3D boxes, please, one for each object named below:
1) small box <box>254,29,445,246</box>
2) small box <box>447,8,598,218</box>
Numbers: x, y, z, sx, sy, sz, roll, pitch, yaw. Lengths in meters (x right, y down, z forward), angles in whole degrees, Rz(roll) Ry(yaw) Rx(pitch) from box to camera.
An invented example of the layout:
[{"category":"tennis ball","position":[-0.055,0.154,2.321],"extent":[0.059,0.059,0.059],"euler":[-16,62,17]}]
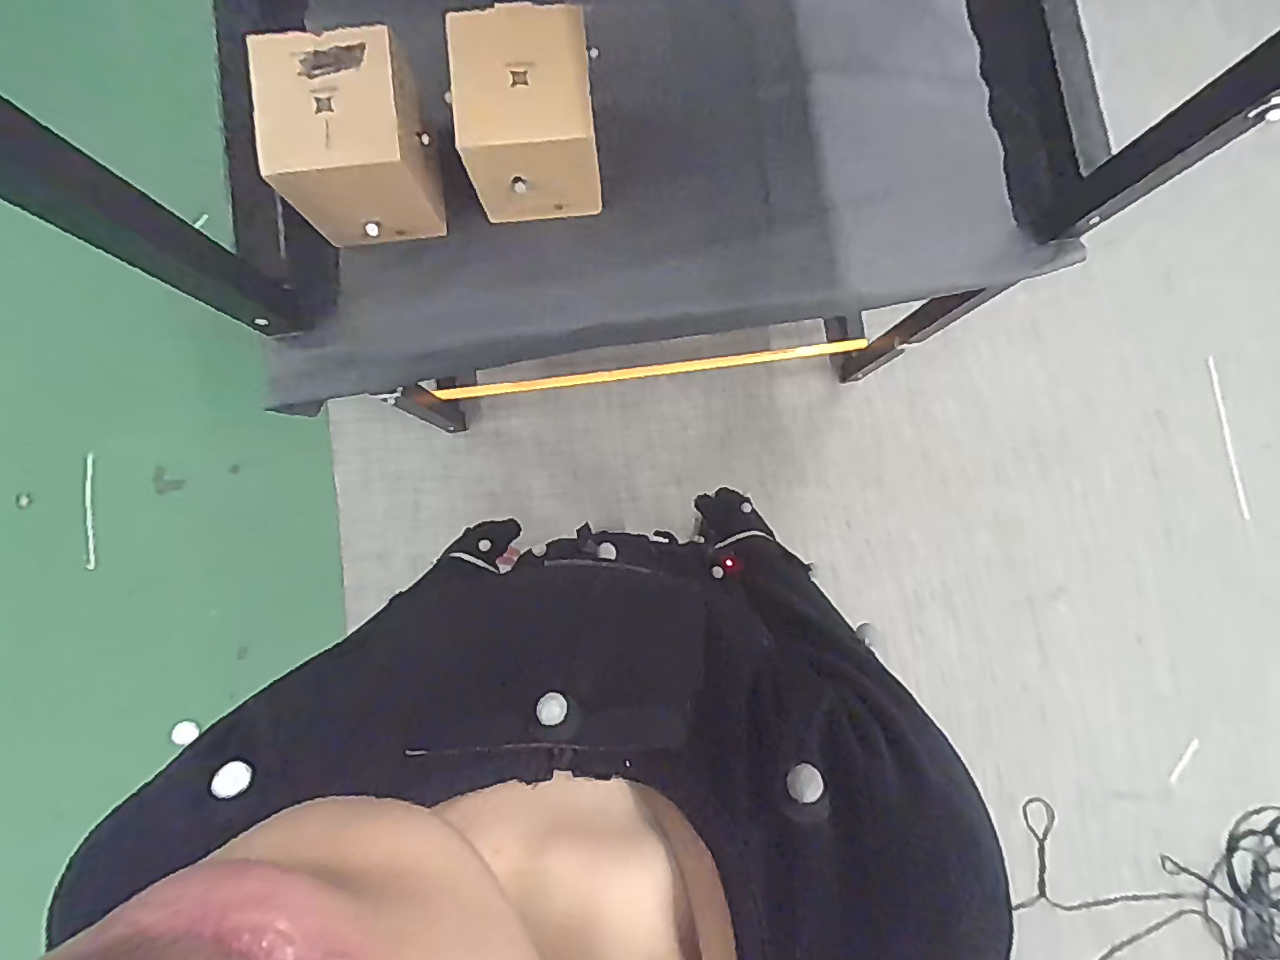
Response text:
[{"category":"small box","position":[-0.372,-0.441,0.719],"extent":[0.168,0.176,0.179],"euler":[-7,86,-3]},{"category":"small box","position":[-0.148,-0.477,0.732],"extent":[0.168,0.176,0.179],"euler":[-6,85,-2]}]
